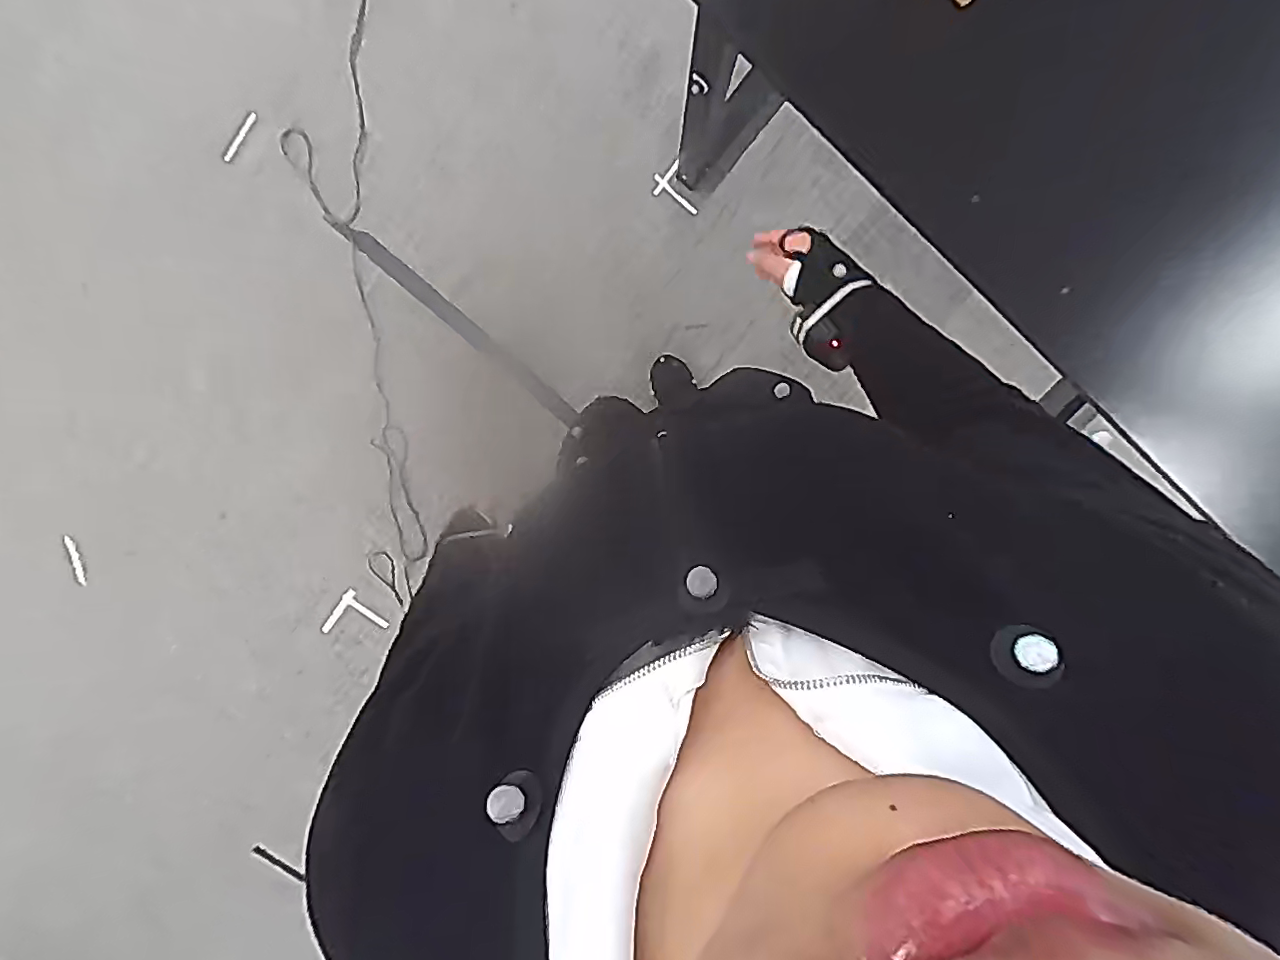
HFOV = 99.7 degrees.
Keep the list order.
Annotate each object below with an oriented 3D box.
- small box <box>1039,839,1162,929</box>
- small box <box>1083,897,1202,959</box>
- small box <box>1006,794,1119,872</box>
[{"bbox_3d":[1.274,1.150,1.497,0.179,0.176,0.168,40,101,-6],"label":"small box"},{"bbox_3d":[1.270,1.189,1.340,0.179,0.176,0.168,39,102,-8],"label":"small box"},{"bbox_3d":[1.284,1.115,1.658,0.168,0.176,0.179,40,101,-7],"label":"small box"}]
